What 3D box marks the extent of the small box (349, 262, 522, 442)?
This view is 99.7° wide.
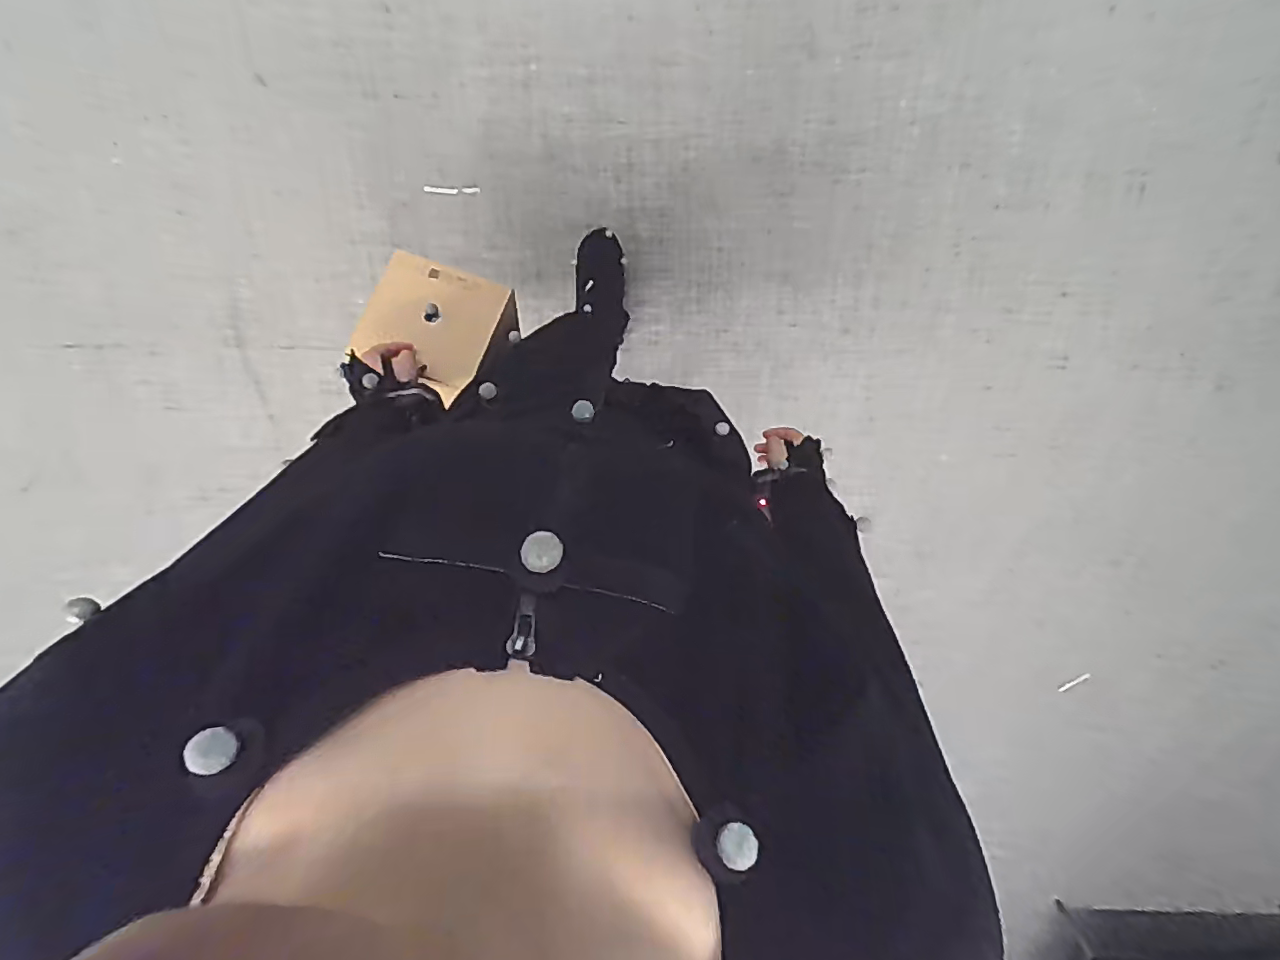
[{"bbox_3d":[-0.280,-0.181,0.785,0.168,0.179,0.176,17,71,-2],"label":"small box"}]
